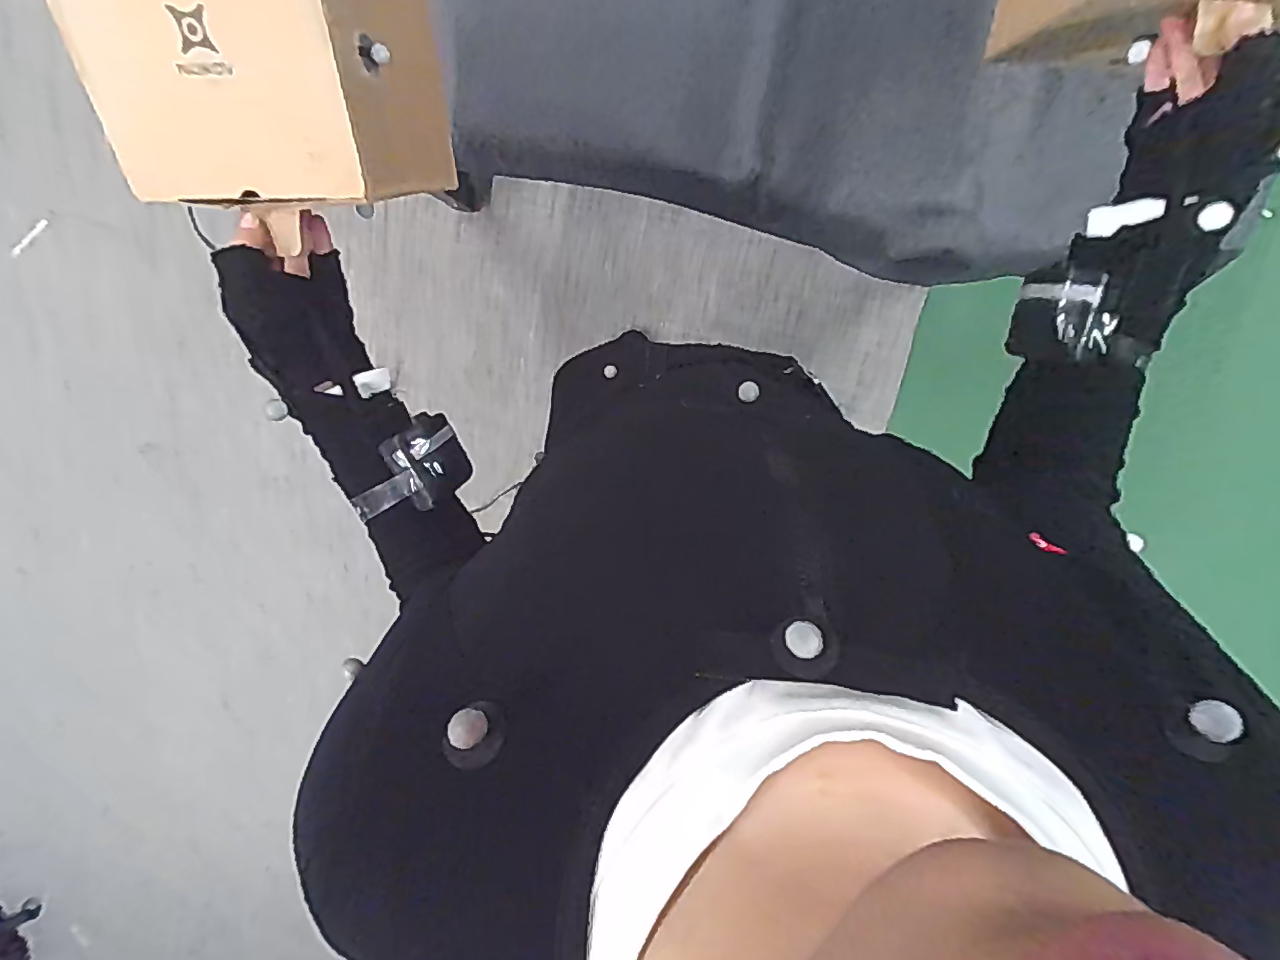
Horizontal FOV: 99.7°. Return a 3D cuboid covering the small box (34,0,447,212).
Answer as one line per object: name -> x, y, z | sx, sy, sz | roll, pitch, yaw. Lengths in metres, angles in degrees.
small box -> -0.255, -0.295, 0.380 | 0.168, 0.176, 0.179 | 0, 121, 3

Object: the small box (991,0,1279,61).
small box -> 0.379, -0.412, 0.366 | 0.168, 0.176, 0.179 | 4, 114, 1
